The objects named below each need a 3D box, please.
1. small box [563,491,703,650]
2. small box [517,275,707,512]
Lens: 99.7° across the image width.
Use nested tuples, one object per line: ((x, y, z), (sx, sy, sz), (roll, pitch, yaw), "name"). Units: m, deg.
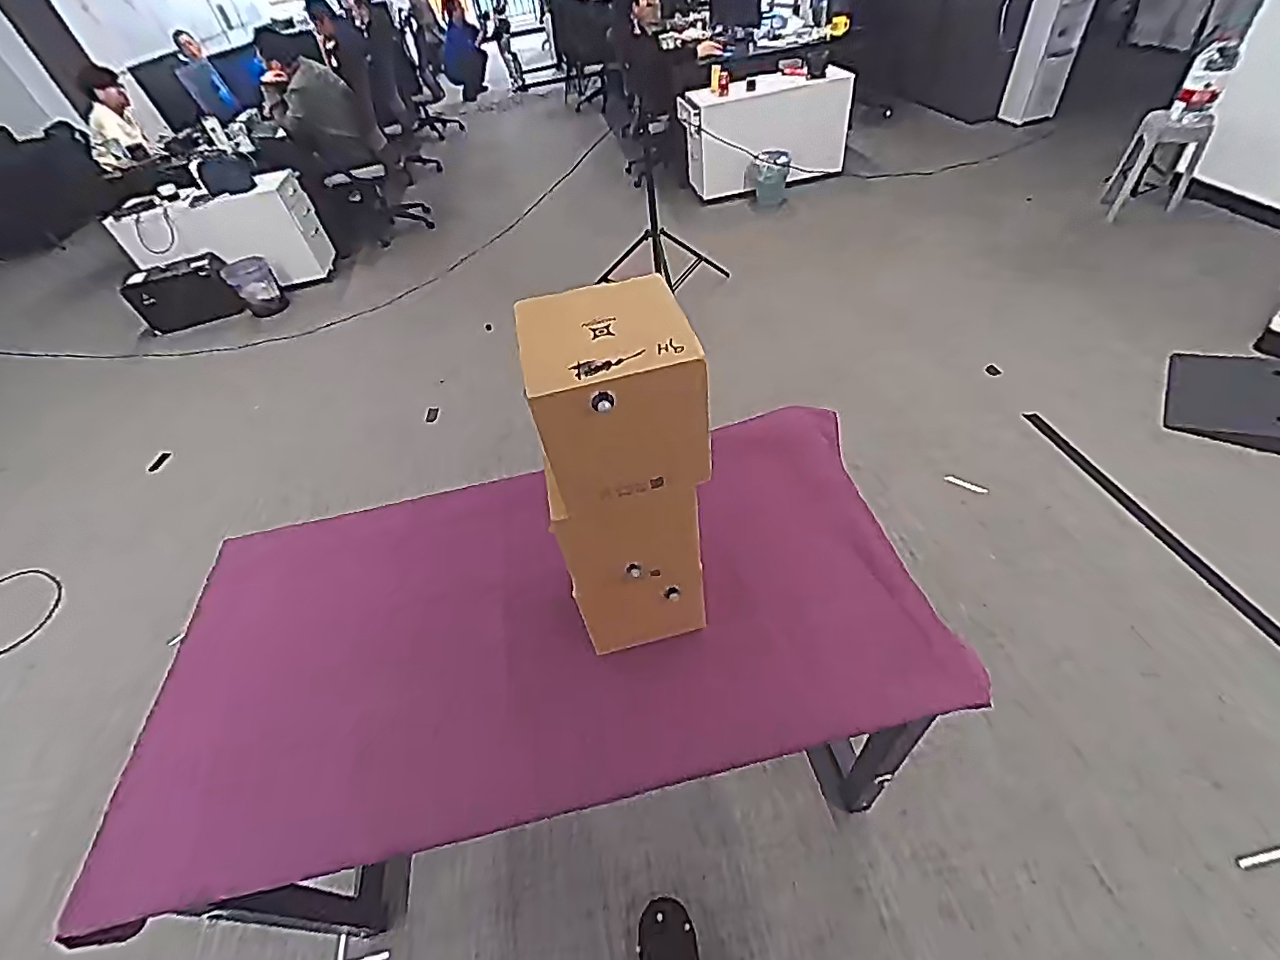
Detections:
((-0.008, 0.134, 0.826), (0.179, 0.176, 0.168), (-14, 46, -3), "small box")
((-0.029, -0.094, 0.590), (0.168, 0.176, 0.179), (-14, 46, -3), "small box")
